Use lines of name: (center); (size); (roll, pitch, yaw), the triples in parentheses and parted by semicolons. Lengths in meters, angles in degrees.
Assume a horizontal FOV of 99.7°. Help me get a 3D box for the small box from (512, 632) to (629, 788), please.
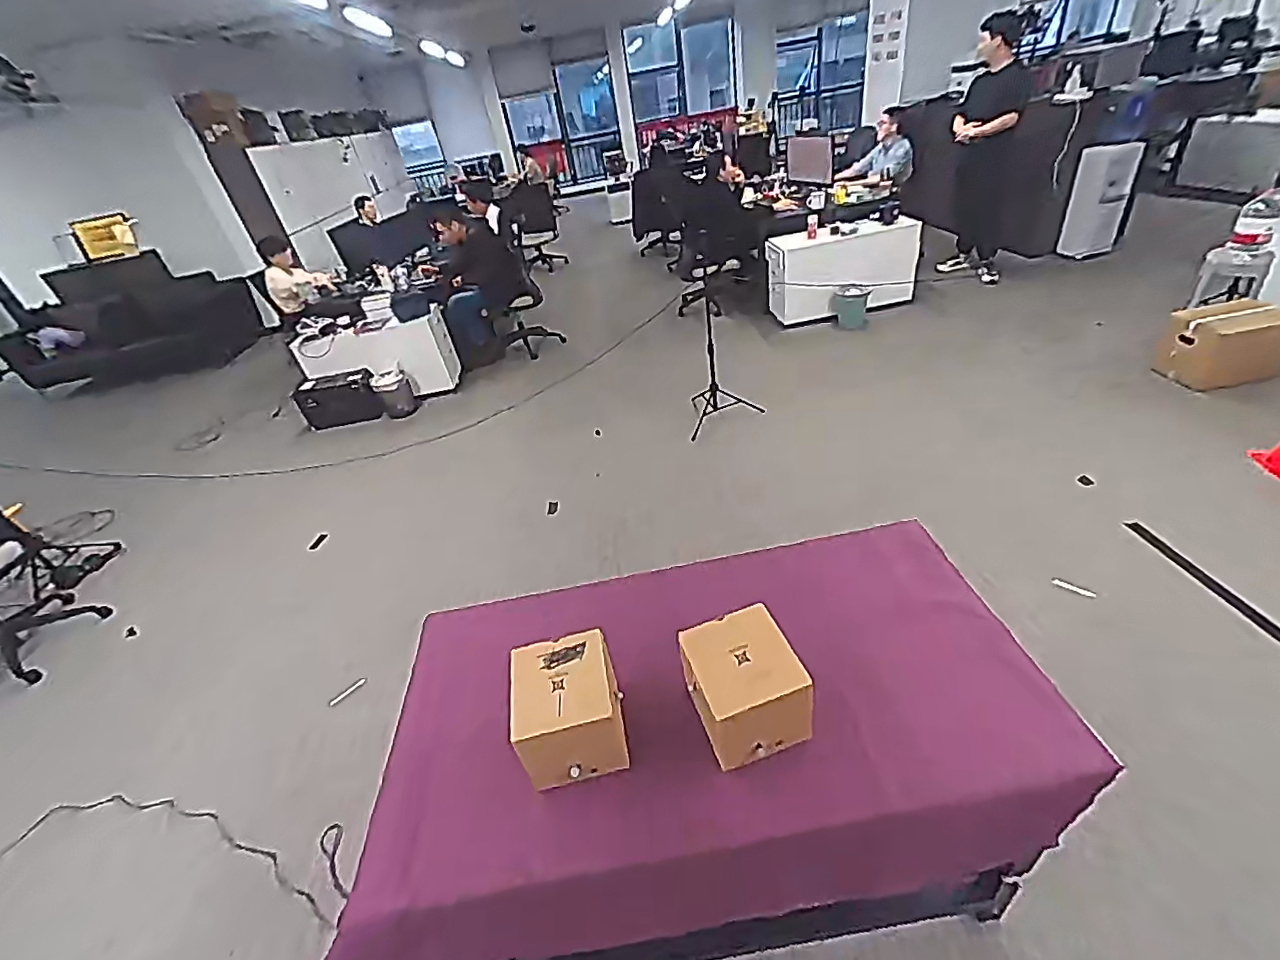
small box: (-0.122, 0.406, 0.960); (0.168, 0.176, 0.179); (-14, 36, -3)

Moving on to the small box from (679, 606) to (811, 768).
small box: (0.180, 0.358, 0.944); (0.168, 0.176, 0.179); (-18, 35, -8)
